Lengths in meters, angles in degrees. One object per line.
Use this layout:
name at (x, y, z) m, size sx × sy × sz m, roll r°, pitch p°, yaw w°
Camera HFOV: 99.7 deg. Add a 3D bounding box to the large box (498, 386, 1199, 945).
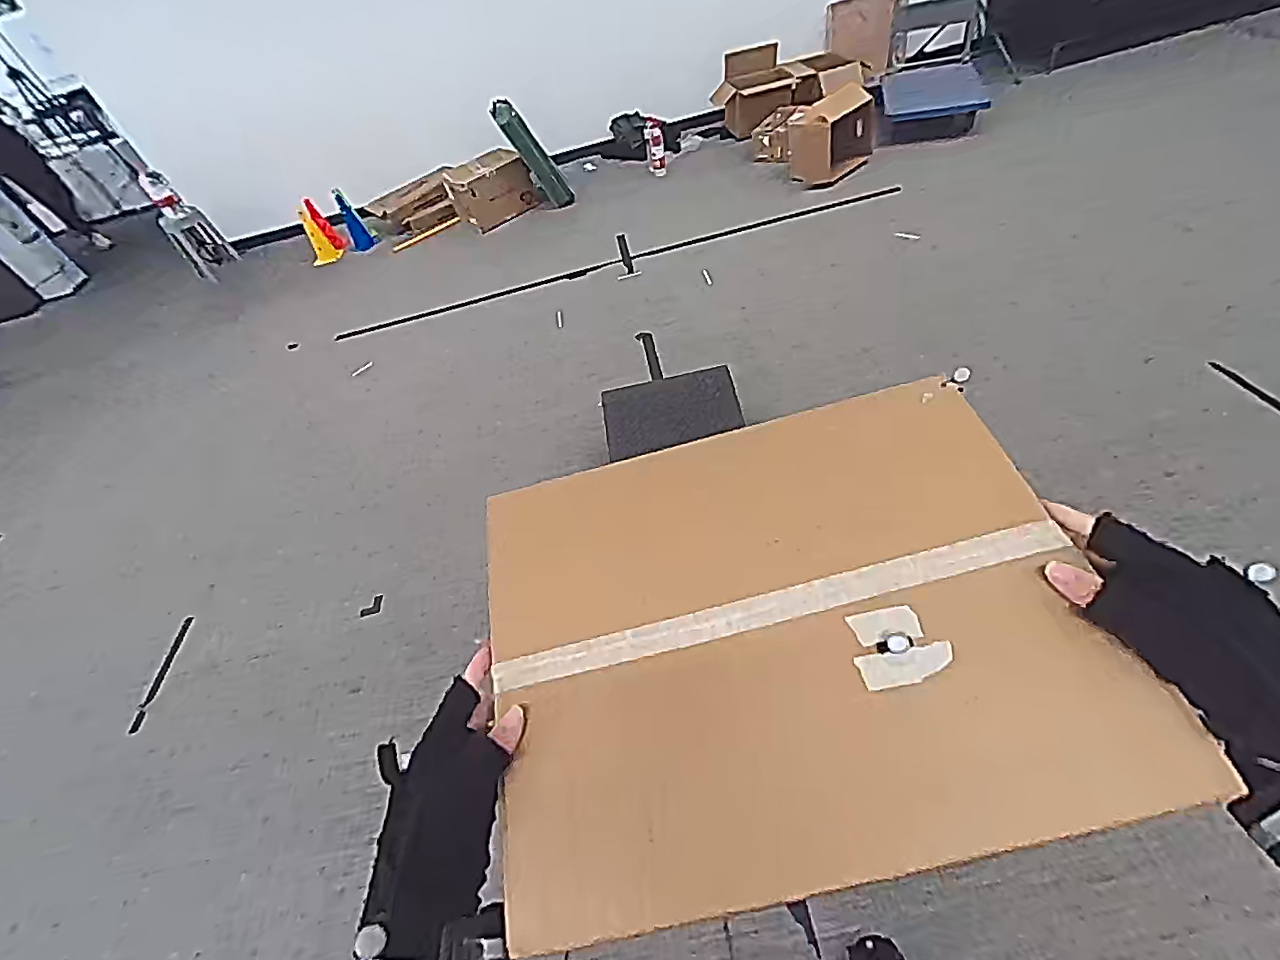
large box at (0.120, 0.173, 0.514) m, size 0.408 × 0.320 × 0.320 m, roll -15°, pitch 57°, yaw 2°
